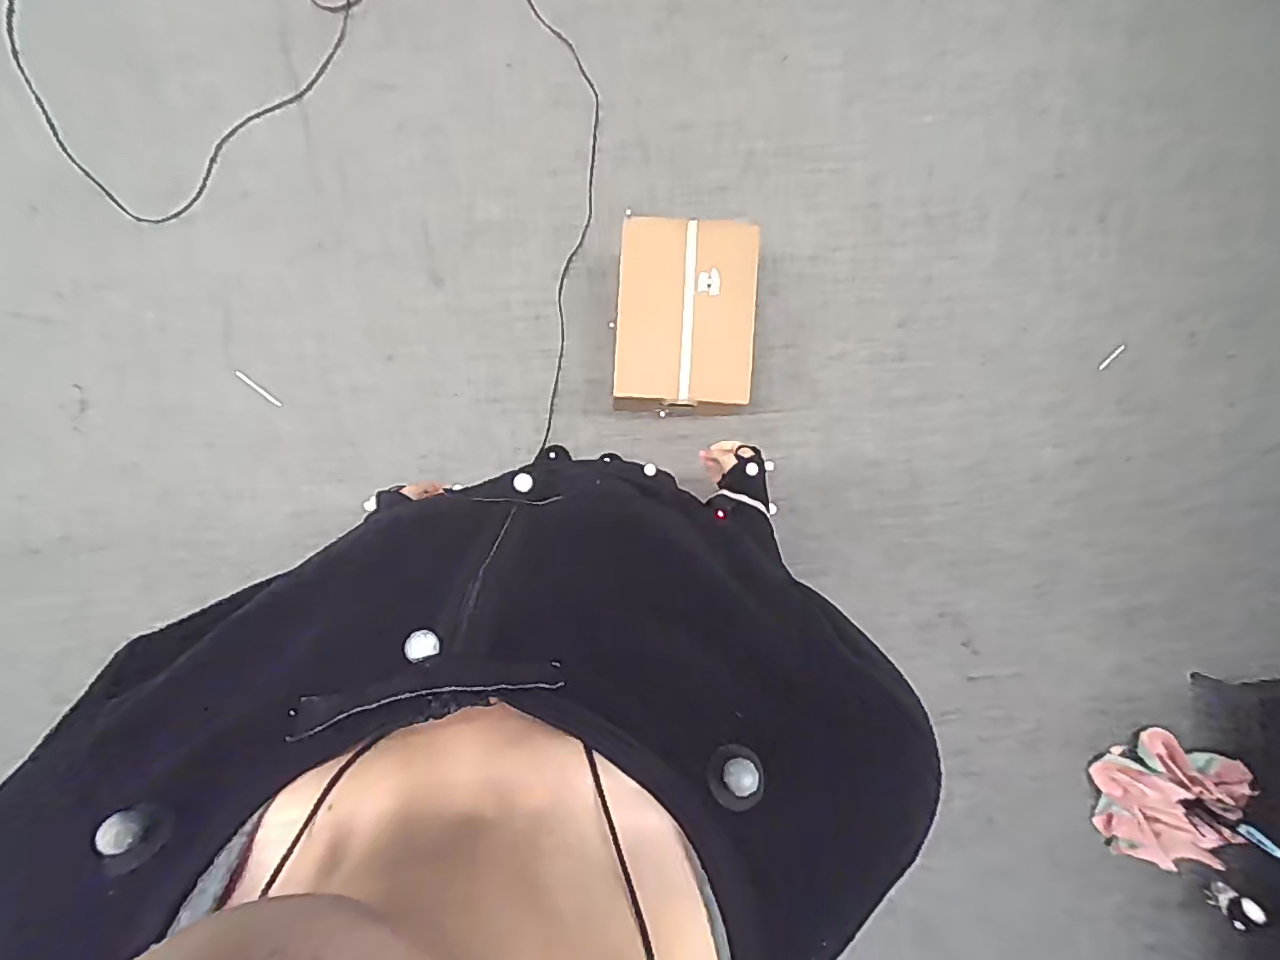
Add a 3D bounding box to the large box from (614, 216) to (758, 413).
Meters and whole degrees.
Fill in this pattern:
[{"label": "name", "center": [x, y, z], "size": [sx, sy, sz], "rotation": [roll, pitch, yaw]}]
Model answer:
[{"label": "large box", "center": [0.099, -0.387, 1.365], "size": [0.320, 0.320, 0.408], "rotation": [3, 91, -4]}]
